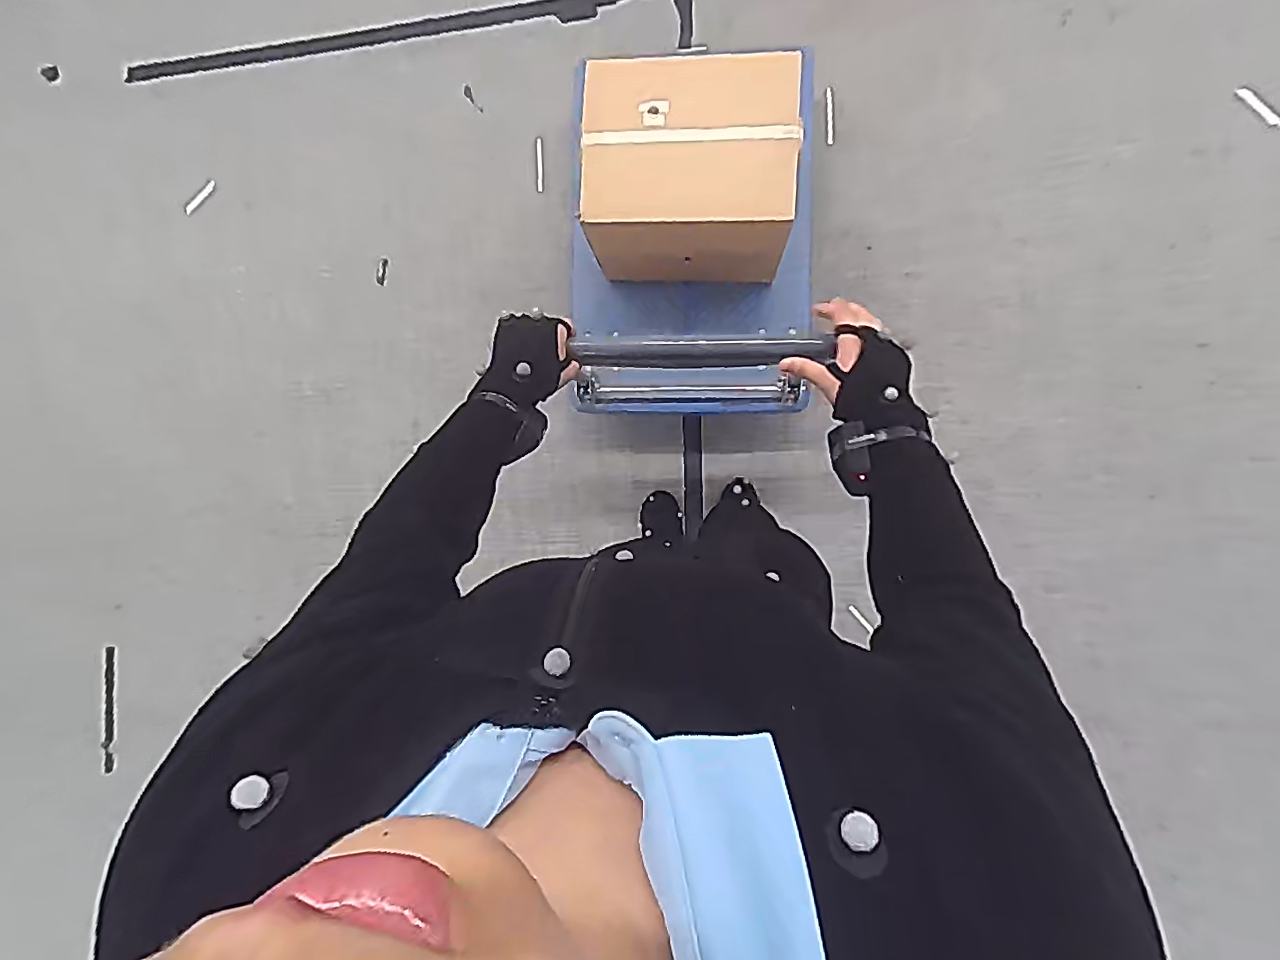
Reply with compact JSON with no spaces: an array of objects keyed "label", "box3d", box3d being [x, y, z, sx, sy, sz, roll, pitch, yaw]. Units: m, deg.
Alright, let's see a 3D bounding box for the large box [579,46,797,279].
[{"label":"large box","box3d":[0.105,-0.634,1.145,0.408,0.320,0.320,2,89,8]}]
